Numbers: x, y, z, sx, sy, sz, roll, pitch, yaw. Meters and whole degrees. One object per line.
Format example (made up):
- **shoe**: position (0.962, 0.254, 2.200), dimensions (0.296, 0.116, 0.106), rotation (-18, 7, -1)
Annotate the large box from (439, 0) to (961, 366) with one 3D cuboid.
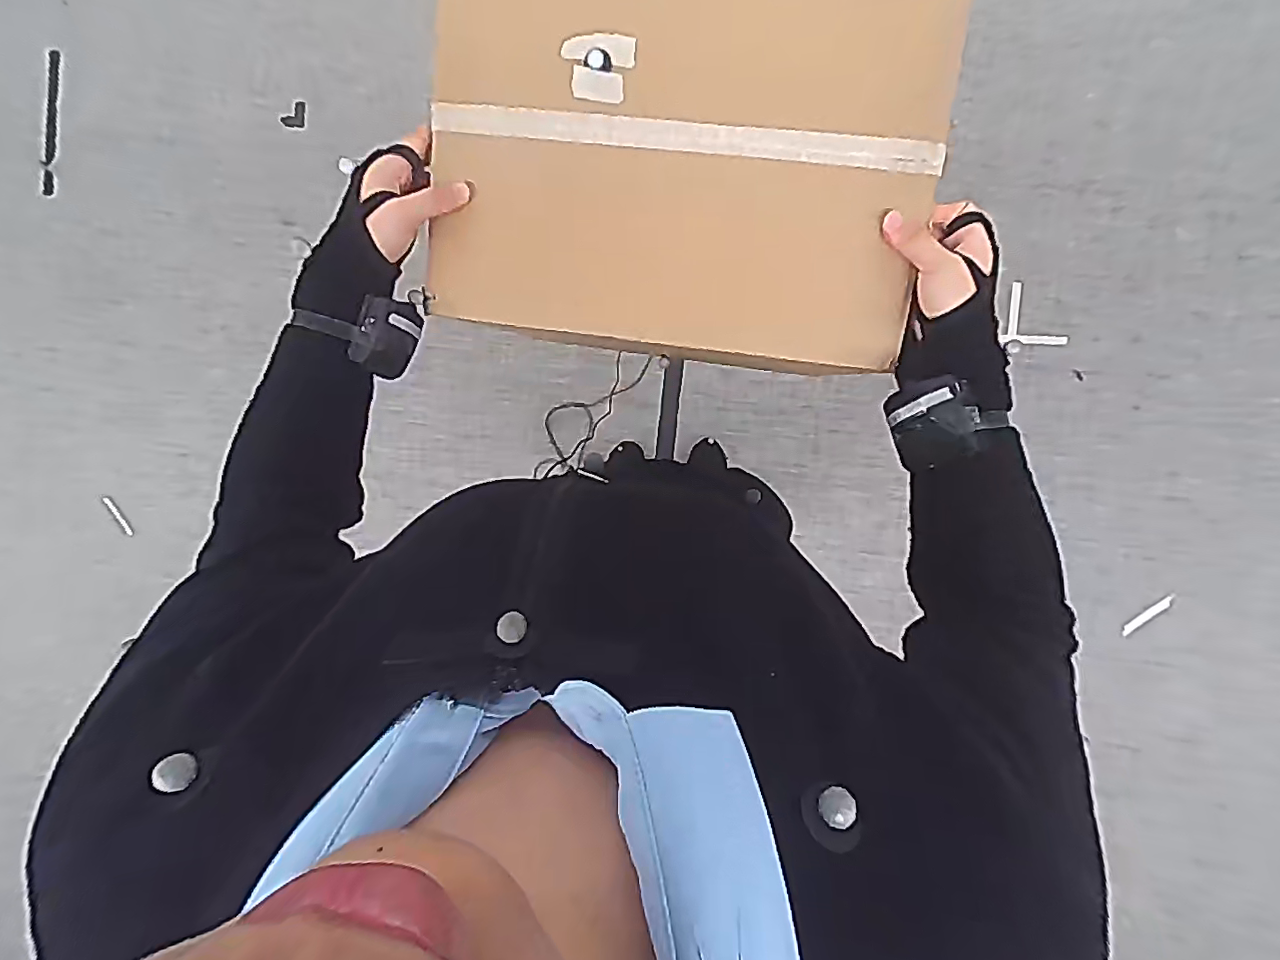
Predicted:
- **large box**: position (0.050, -0.298, 0.583), dimensions (0.408, 0.320, 0.320), rotation (8, 100, 6)
